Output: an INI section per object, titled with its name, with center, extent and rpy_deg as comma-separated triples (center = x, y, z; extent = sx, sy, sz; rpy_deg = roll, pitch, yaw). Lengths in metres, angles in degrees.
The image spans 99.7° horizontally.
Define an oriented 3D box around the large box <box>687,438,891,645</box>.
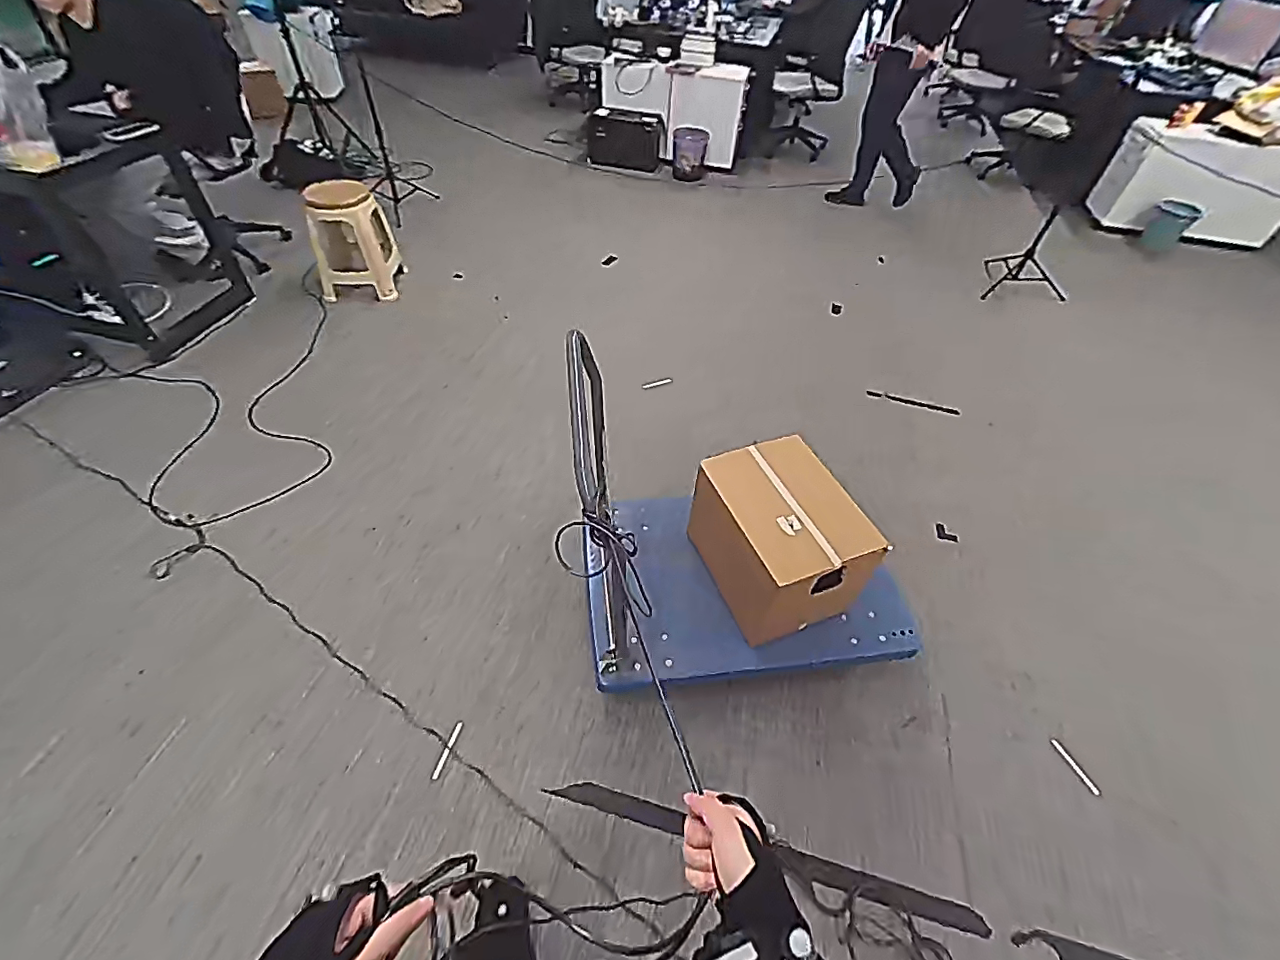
[large box]
center = 0.361, 0.157, 1.443
extent = 0.320, 0.320, 0.408
rpy_deg = -16, 53, -16
